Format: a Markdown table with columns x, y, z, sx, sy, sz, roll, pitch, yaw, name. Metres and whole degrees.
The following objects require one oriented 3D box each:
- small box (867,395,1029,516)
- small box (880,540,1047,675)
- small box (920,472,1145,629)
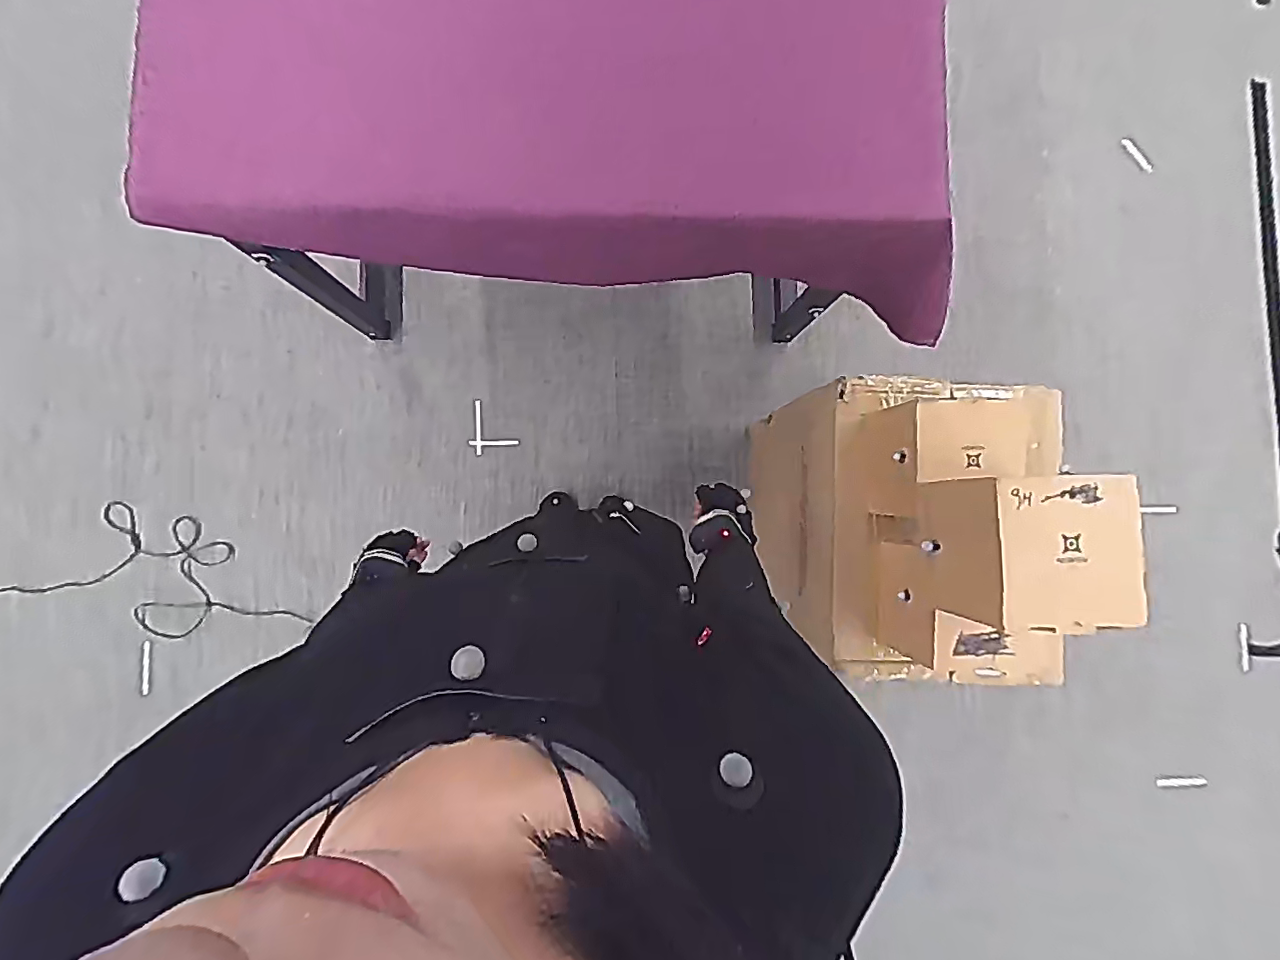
| x | y | z | sx | sy | sz | roll | pitch | yaw | name |
| --- | --- | --- | --- | --- | --- | --- | --- | --- | --- |
| 0.473 | -0.032 | 0.853 | 0.168 | 0.176 | 0.179 | 0 | 89 | -2 | small box |
| 0.492 | 0.189 | 0.842 | 0.168 | 0.176 | 0.179 | 3 | 85 | -2 | small box |
| 0.478 | 0.081 | 0.685 | 0.168 | 0.176 | 0.179 | -1 | 87 | -2 | small box |
